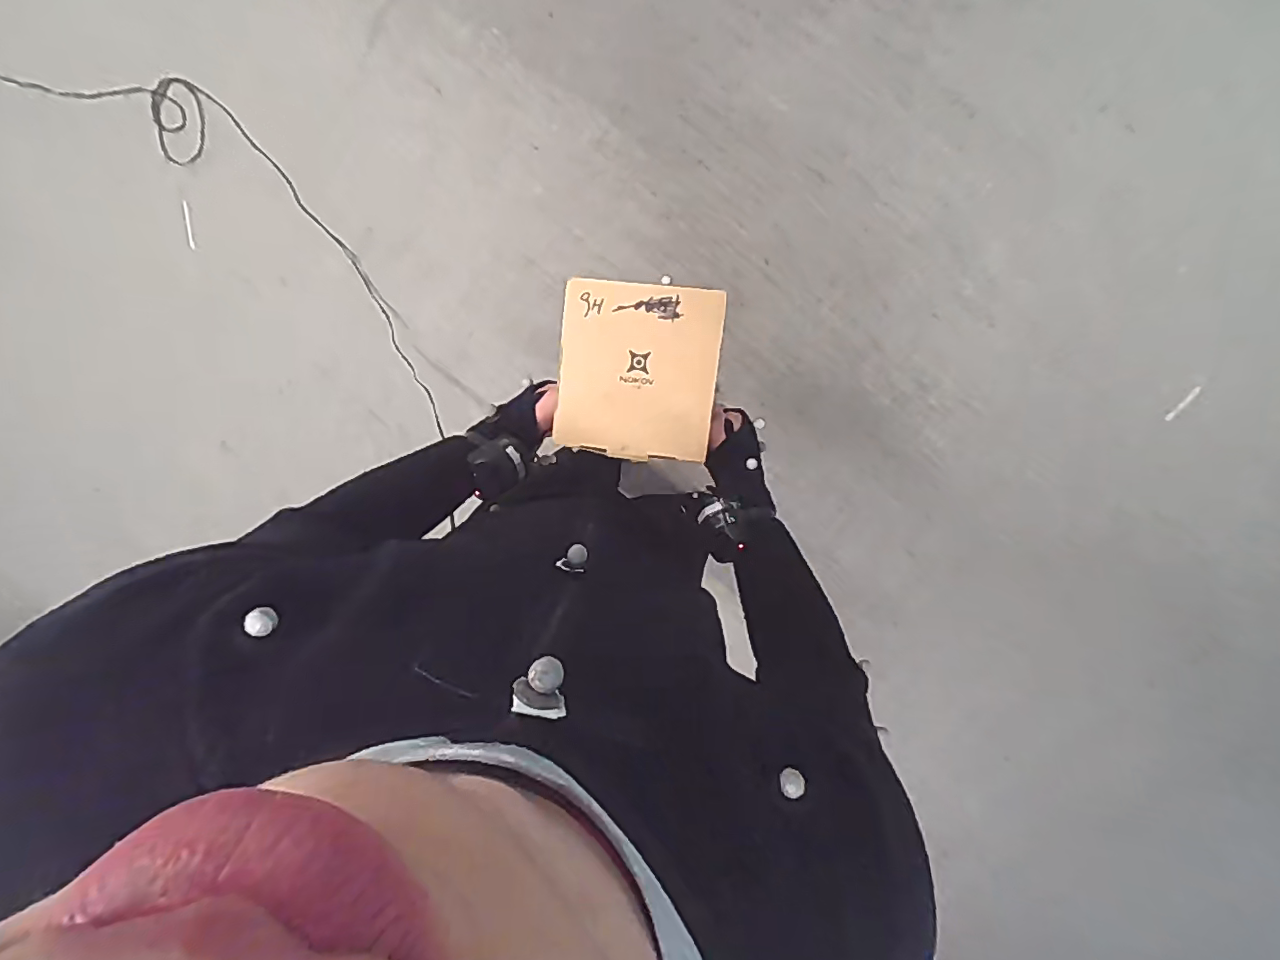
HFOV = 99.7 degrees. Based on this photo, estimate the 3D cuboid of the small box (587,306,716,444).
[{"bbox_3d":[0.022,-0.149,0.803,0.168,0.176,0.179,4,96,5],"label":"small box"}]
